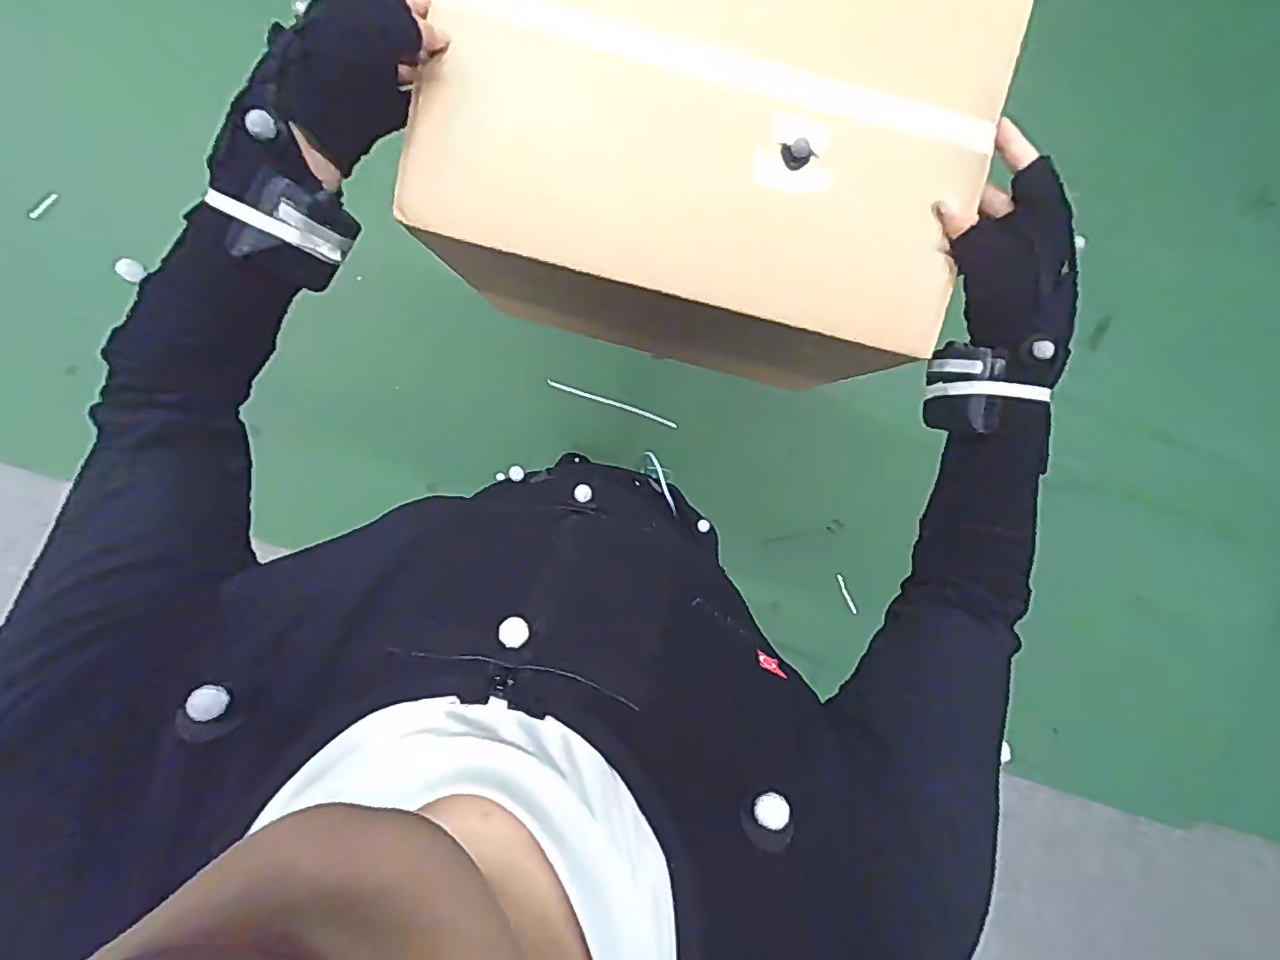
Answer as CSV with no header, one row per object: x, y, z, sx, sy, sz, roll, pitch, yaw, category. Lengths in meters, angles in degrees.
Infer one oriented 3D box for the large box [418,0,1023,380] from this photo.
0.057,-0.306,0.539,0.408,0.320,0.320,14,96,-2,large box
